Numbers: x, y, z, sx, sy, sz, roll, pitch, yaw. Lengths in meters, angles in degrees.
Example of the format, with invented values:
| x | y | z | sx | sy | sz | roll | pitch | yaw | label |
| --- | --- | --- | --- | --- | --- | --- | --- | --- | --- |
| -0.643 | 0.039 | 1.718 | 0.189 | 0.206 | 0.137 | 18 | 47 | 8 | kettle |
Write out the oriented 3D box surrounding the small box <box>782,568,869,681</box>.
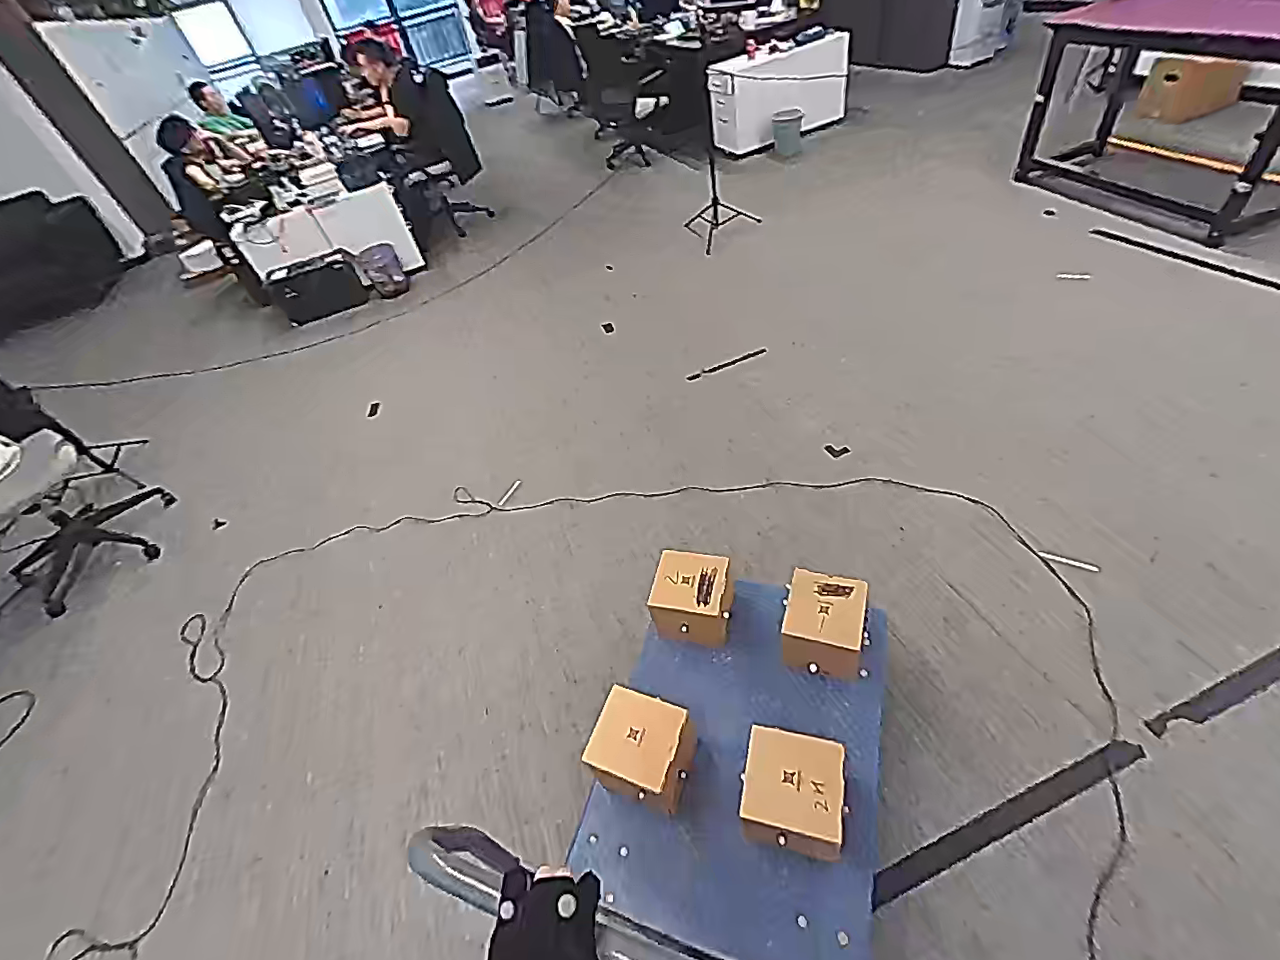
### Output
| x | y | z | sx | sy | sz | roll | pitch | yaw | label |
| --- | --- | --- | --- | --- | --- | --- | --- | --- | --- |
| 0.430 | 0.337 | 1.264 | 0.168 | 0.176 | 0.179 | 9 | 51 | 22 | small box |

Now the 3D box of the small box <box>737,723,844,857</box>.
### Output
| x | y | z | sx | sy | sz | roll | pitch | yaw | label |
| --- | --- | --- | --- | --- | --- | --- | --- | --- | --- |
| 0.292 | 0.600 | 1.044 | 0.179 | 0.176 | 0.168 | 5 | 49 | 19 | small box |

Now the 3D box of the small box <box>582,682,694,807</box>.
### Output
| x | y | z | sx | sy | sz | roll | pitch | yaw | label |
| --- | --- | --- | --- | --- | --- | --- | --- | --- | --- |
| 0.004 | 0.566 | 1.153 | 0.179 | 0.176 | 0.168 | 12 | 50 | 22 | small box |
